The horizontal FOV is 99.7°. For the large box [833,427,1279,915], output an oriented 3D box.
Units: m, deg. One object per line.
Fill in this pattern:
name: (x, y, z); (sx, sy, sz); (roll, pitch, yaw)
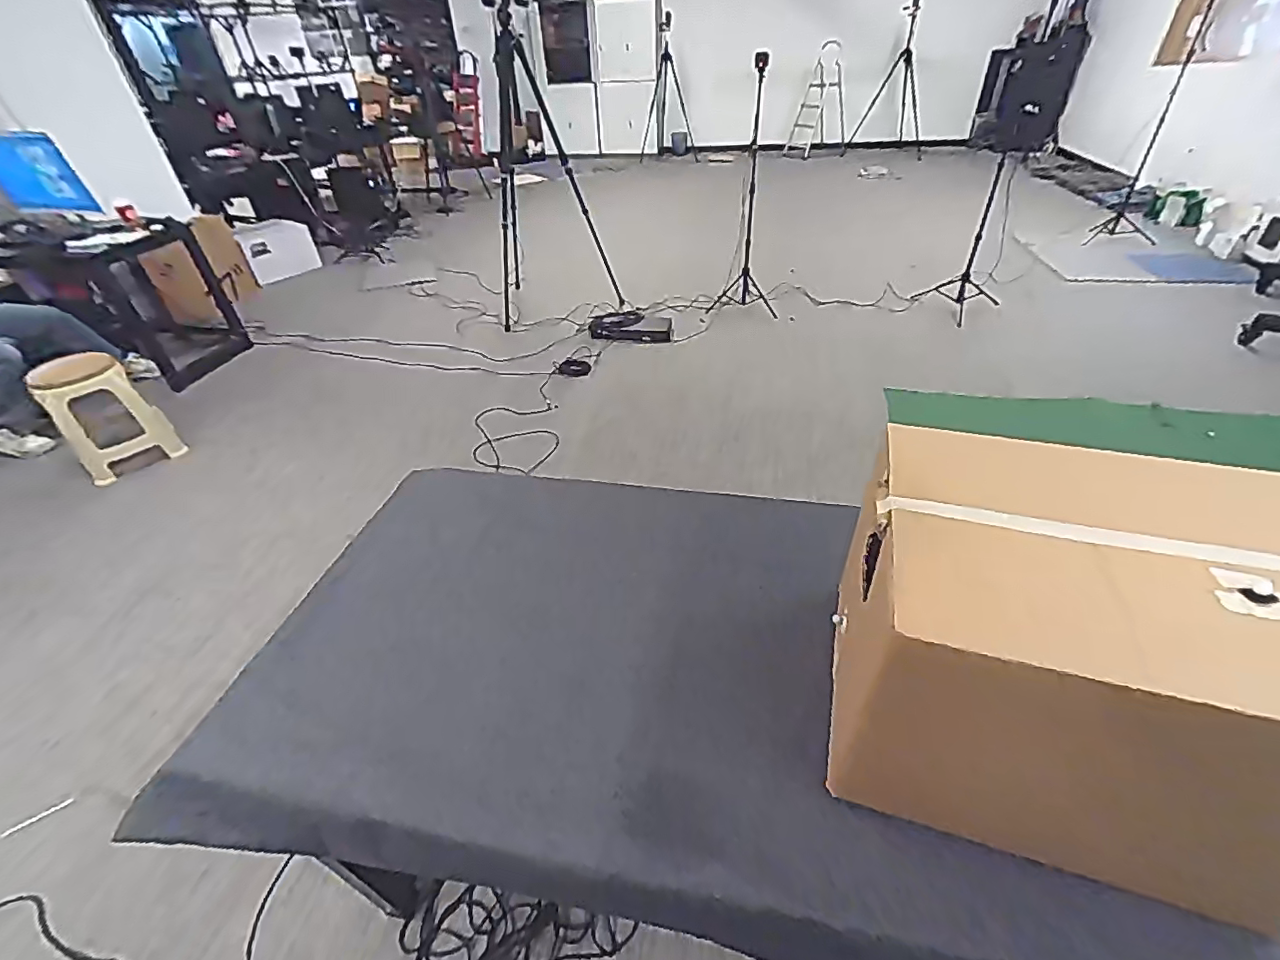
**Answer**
large box: (0.442, 0.174, 0.577); (0.408, 0.320, 0.320); (10, 41, 15)
